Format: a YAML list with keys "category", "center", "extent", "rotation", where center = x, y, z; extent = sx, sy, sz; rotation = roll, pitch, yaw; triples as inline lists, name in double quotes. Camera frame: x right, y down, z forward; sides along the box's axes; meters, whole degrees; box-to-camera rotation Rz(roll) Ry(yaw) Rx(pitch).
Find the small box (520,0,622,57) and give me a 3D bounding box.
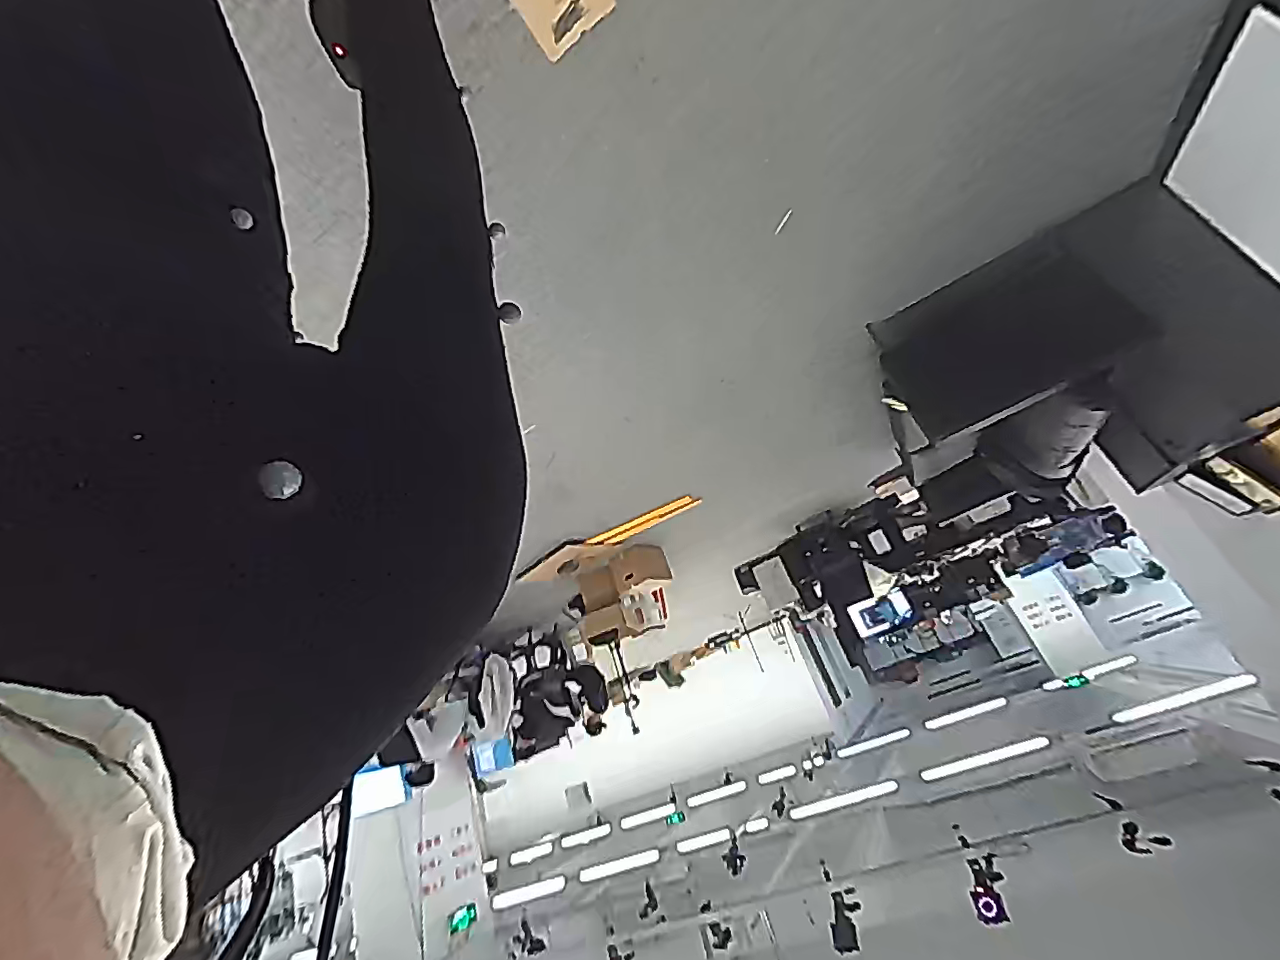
- category: "small box"
  center: [-0.162, -0.976, 1.024]
  extent: [0.168, 0.176, 0.179]
  rotation: [-29, 154, 19]
